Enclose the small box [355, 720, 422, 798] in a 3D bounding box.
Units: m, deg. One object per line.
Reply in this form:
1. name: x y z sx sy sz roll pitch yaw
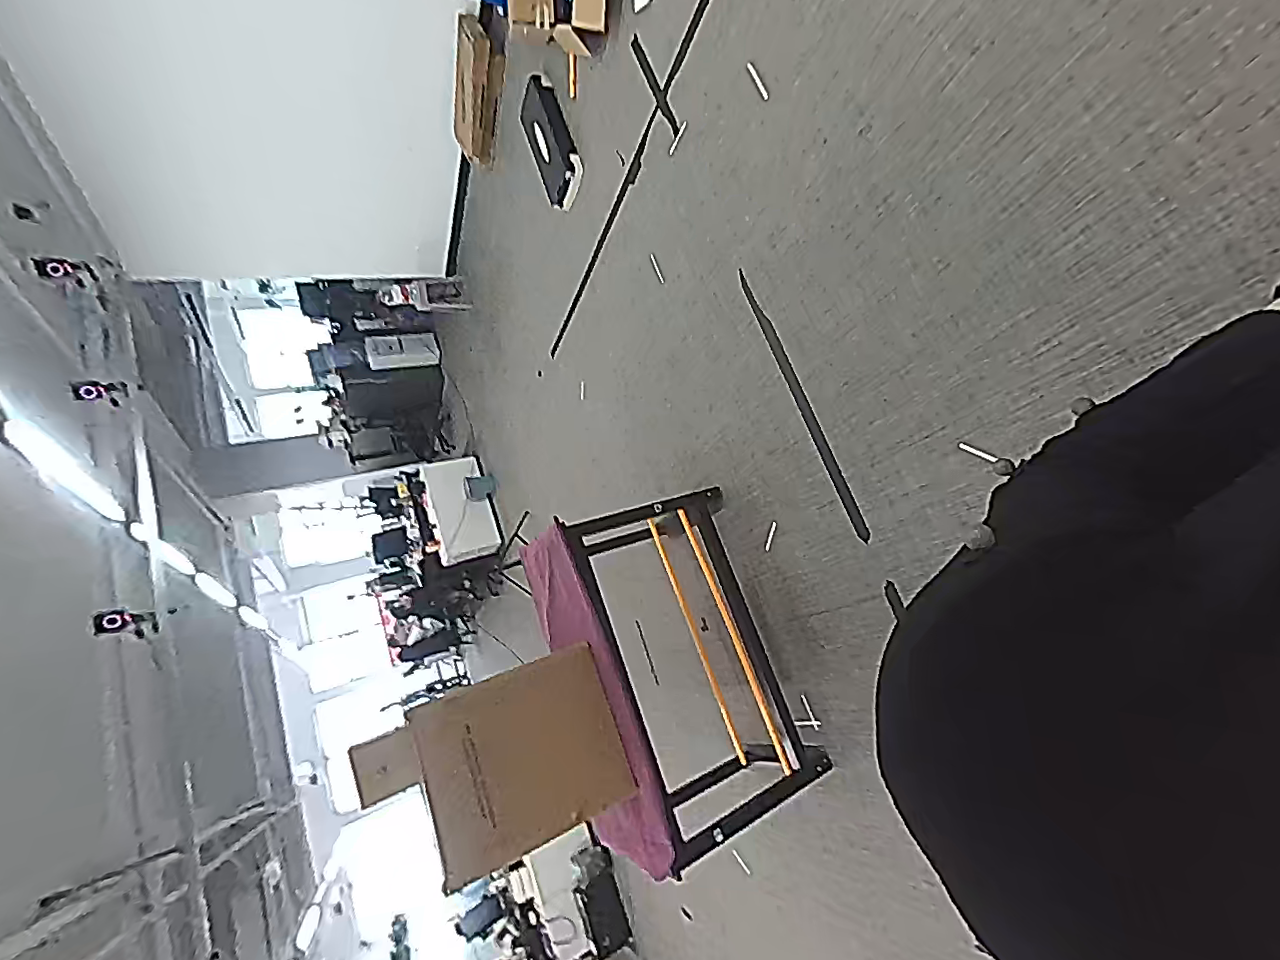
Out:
1. small box: -0.835 0.927 1.809 0.168 0.176 0.179 -46 61 58
